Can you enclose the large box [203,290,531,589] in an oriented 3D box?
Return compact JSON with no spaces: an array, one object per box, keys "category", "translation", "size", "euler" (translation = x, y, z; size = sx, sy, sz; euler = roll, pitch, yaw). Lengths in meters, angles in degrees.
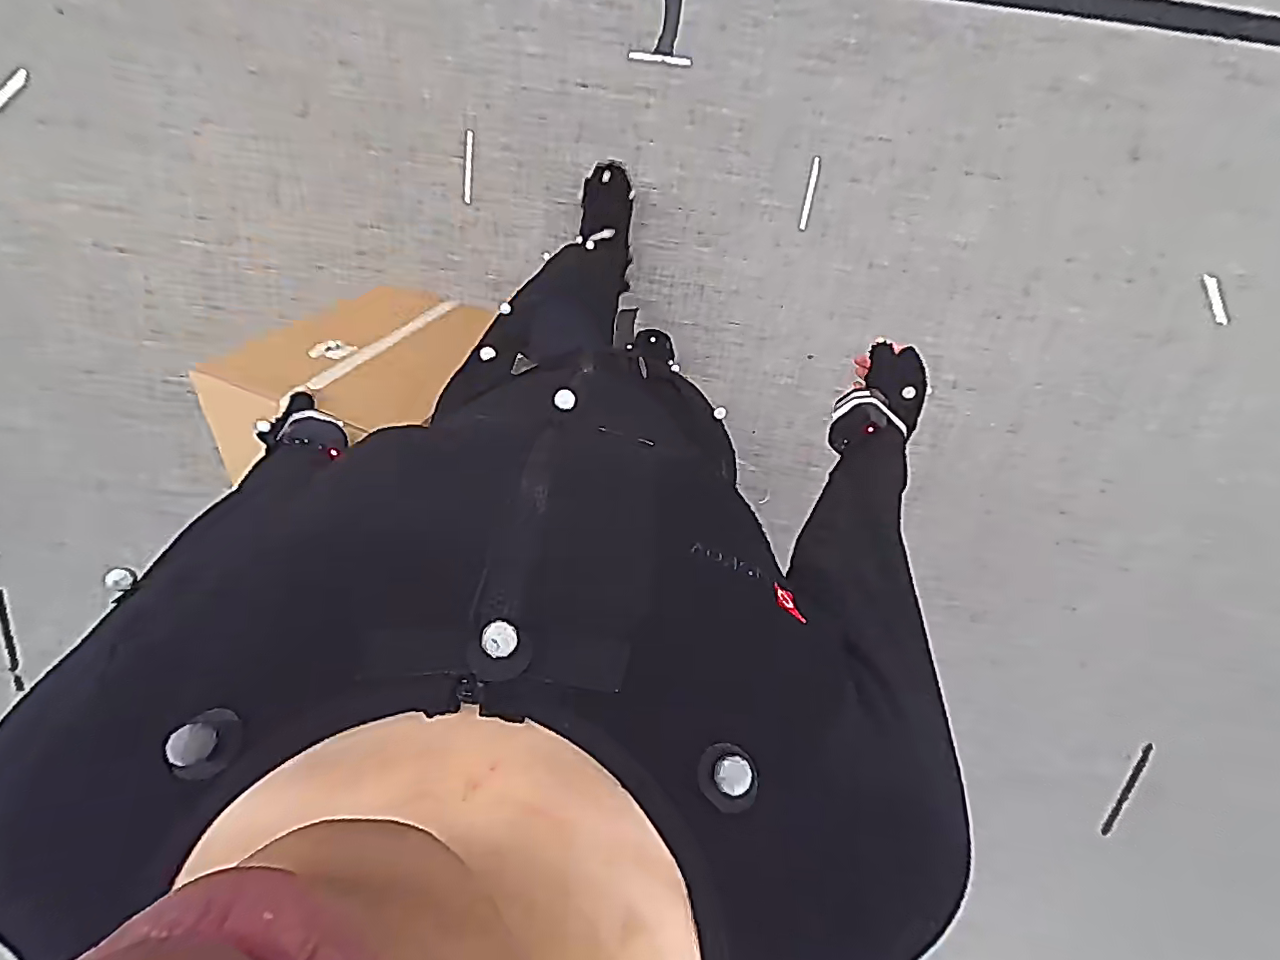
[{"category":"large box","translation":[-0.423,-0.090,0.960],"size":[0.320,0.408,0.320],"euler":[18,130,9]}]
